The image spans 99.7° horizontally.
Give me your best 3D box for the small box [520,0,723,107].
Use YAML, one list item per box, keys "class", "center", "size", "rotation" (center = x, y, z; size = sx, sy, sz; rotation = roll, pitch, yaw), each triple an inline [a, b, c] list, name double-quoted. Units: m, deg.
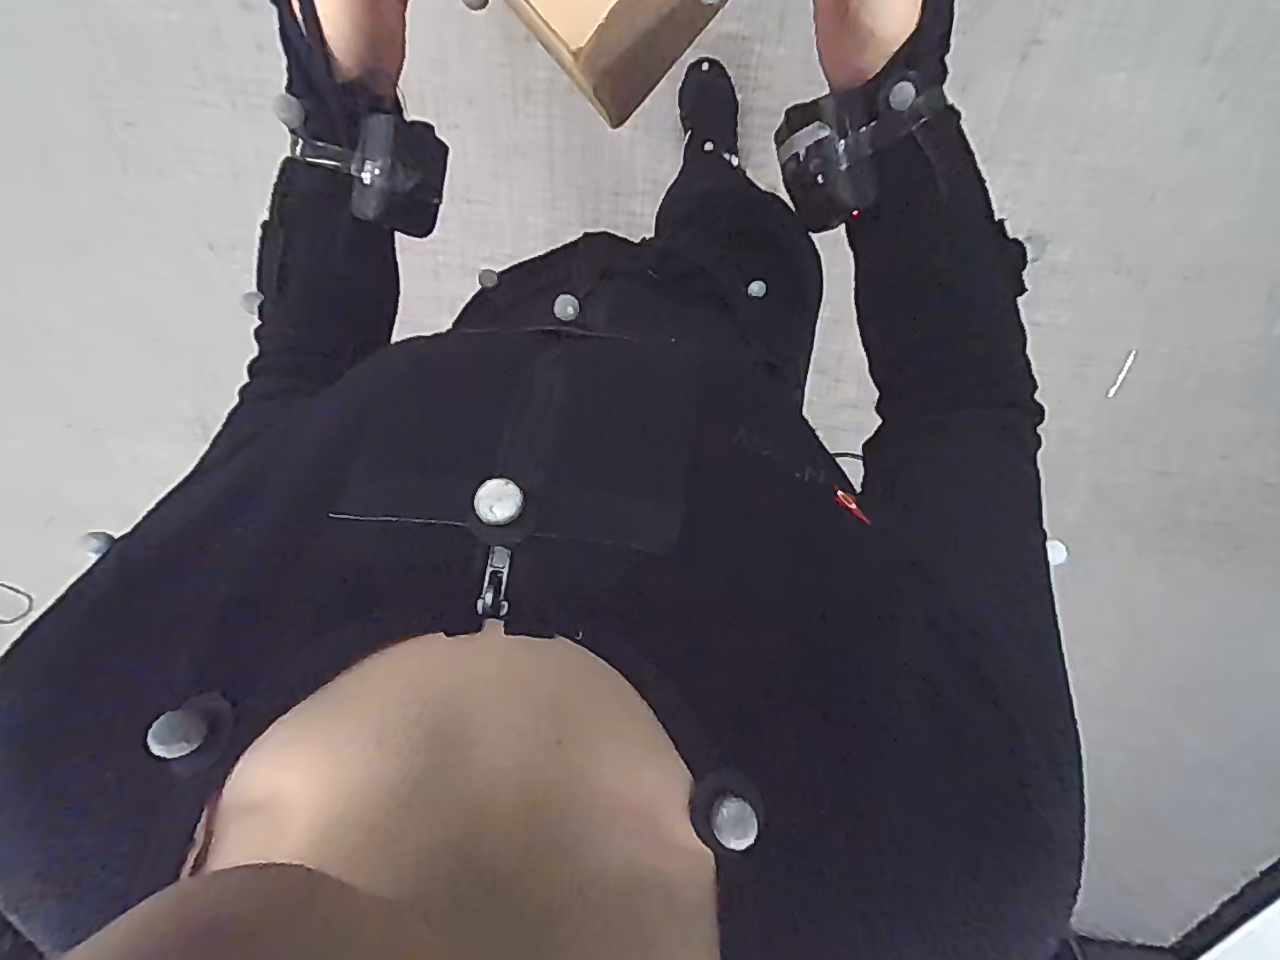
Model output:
- class: "small box"
  center: [-0.013, -0.313, 0.243]
  size: [0.179, 0.176, 0.168]
  rotation: [-41, 107, 21]
